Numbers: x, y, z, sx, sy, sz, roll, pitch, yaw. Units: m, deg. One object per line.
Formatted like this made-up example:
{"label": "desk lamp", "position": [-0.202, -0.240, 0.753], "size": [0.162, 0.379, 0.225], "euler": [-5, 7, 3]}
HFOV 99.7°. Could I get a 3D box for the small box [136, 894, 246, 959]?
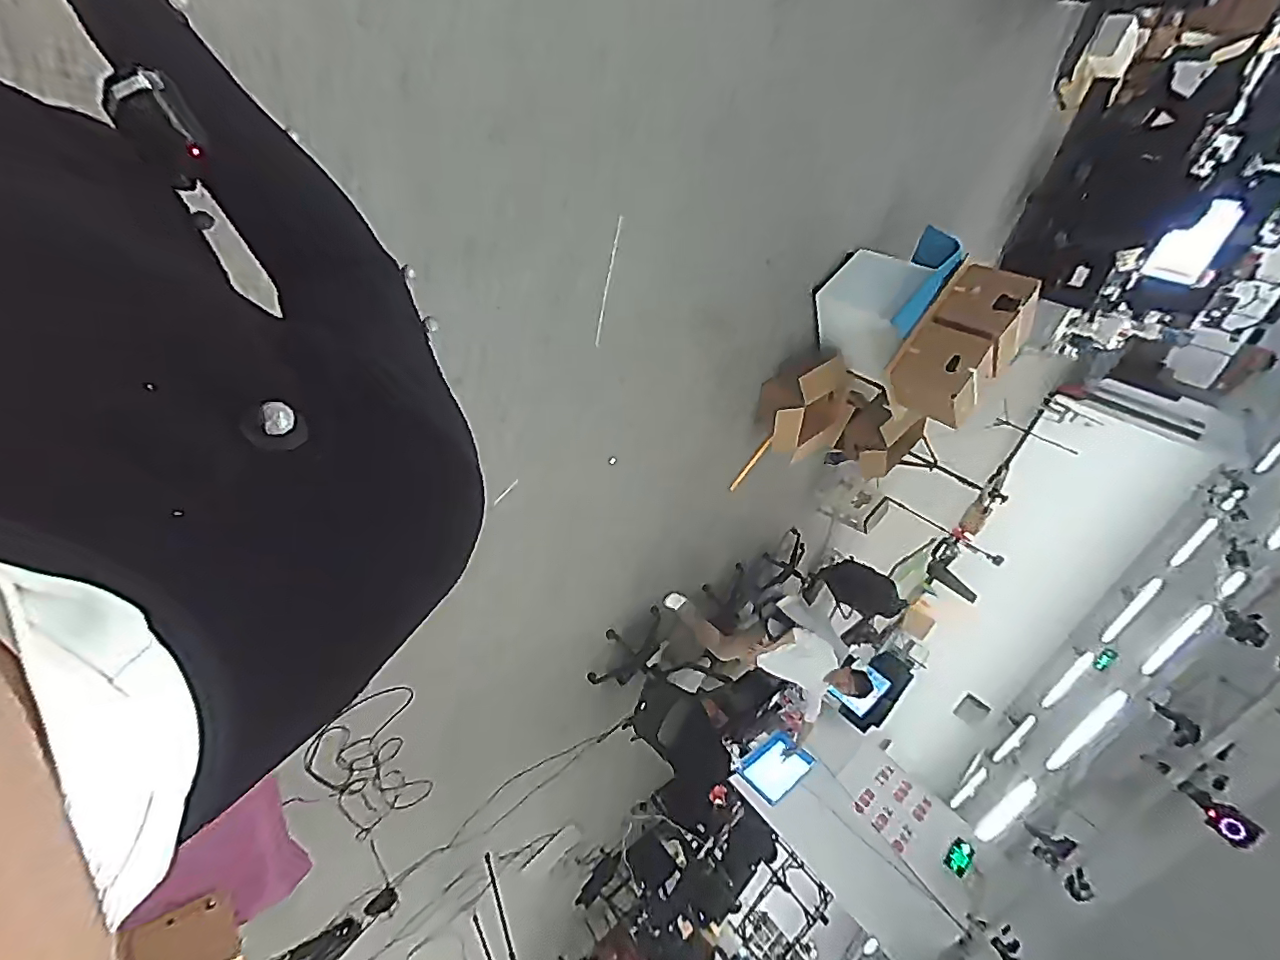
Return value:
{"label": "small box", "position": [-0.985, 1.069, 1.193], "size": [0.168, 0.176, 0.179], "euler": [-11, 127, -43]}
